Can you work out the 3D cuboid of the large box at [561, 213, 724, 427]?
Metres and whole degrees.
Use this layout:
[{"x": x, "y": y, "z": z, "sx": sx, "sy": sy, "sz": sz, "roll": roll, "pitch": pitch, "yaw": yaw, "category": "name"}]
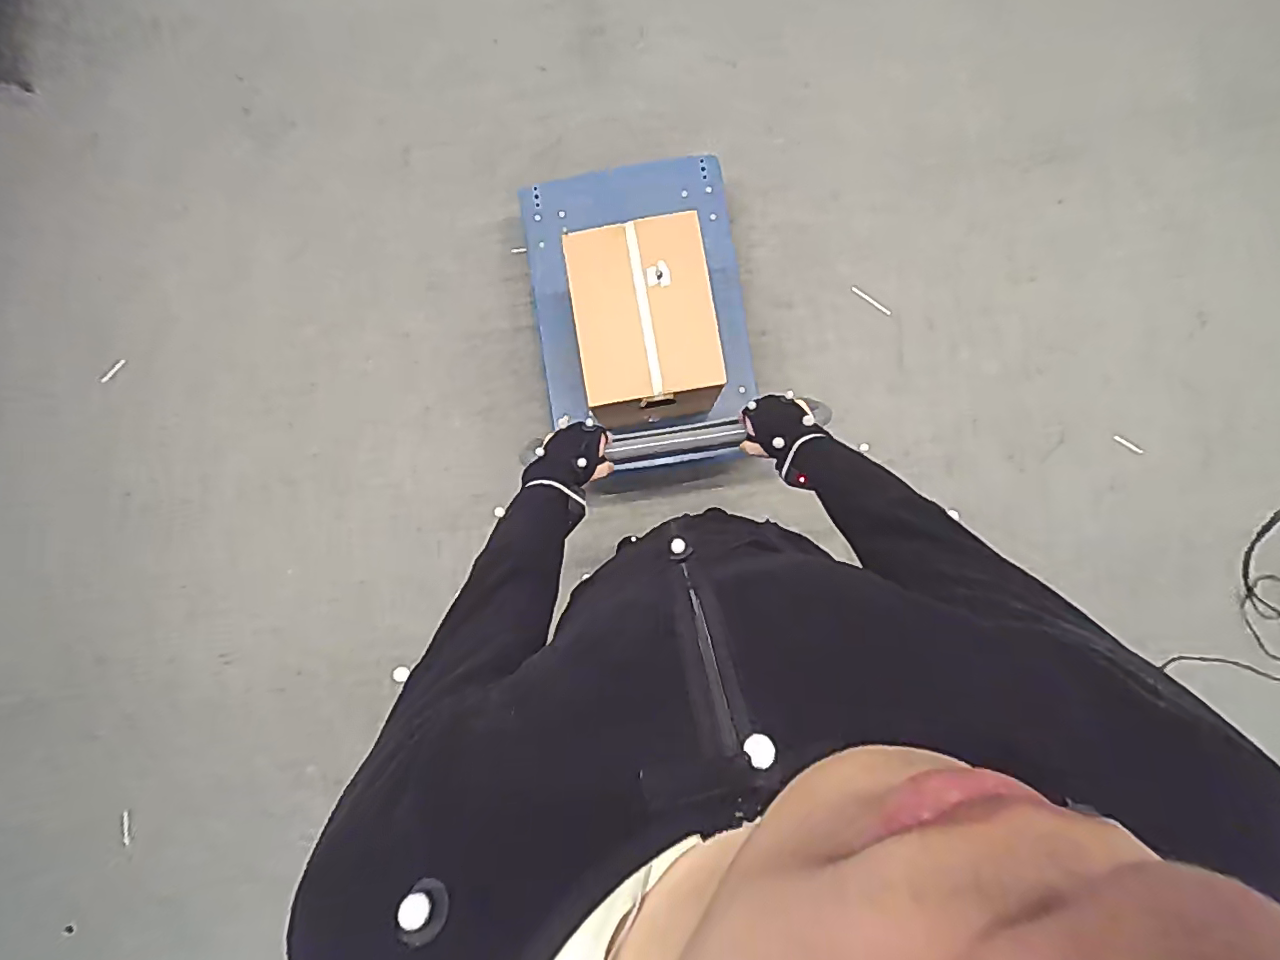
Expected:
[{"x": 0.011, "y": -0.375, "z": 1.362, "sx": 0.320, "sy": 0.320, "sz": 0.408, "roll": -9, "pitch": 86, "yaw": 1, "category": "large box"}]
